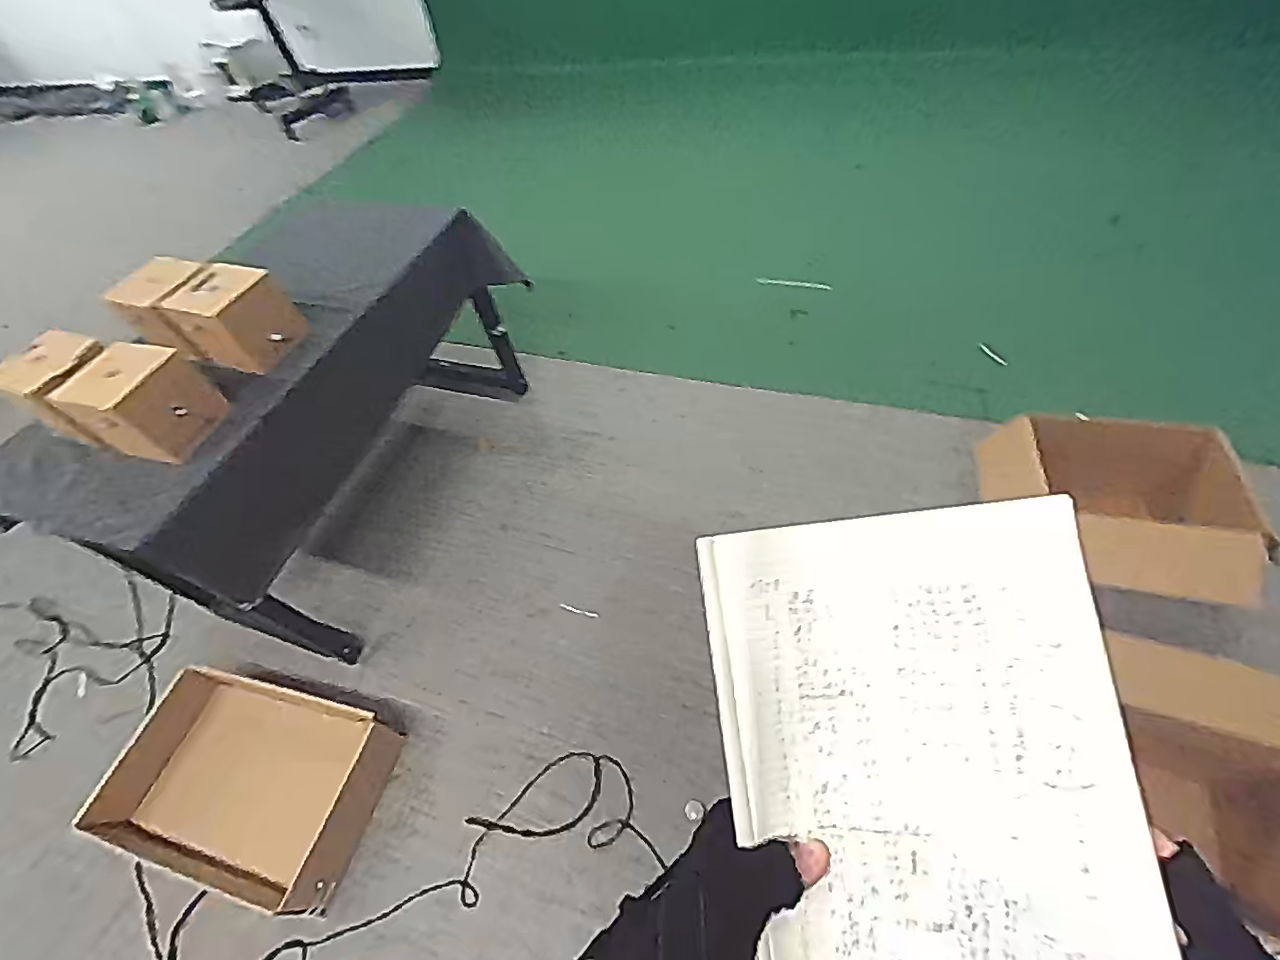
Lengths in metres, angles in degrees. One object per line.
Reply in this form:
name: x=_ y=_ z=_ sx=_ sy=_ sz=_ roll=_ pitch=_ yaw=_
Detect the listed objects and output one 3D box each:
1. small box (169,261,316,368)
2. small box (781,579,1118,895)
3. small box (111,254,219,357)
small box: x=-0.913 y=-0.383 z=1.257 sx=0.179 sy=0.176 sz=0.168 roll=14 pitch=58 yaw=19
small box: x=0.203 y=0.177 z=0.410 sx=0.179 sy=0.176 sz=0.168 roll=-2 pitch=66 yaw=19
small box: x=-1.103 y=-0.423 z=1.322 sx=0.179 sy=0.176 sz=0.168 roll=15 pitch=59 yaw=19
